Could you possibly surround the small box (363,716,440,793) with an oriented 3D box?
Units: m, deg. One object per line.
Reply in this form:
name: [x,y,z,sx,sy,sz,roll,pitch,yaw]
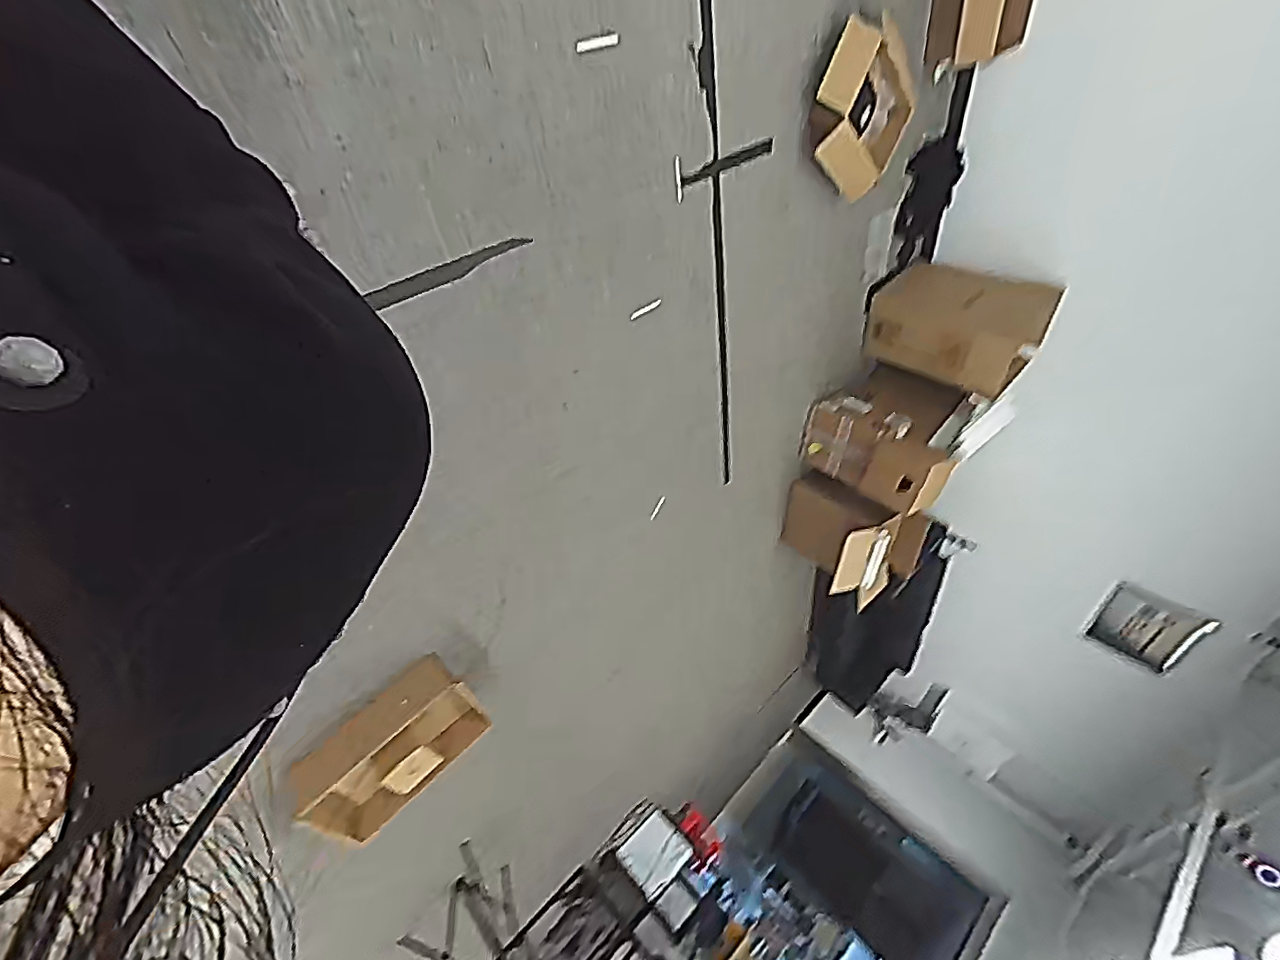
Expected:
small box: [-0.886,1.015,2.006,0.168,0.176,0.179,-42,141,-22]
